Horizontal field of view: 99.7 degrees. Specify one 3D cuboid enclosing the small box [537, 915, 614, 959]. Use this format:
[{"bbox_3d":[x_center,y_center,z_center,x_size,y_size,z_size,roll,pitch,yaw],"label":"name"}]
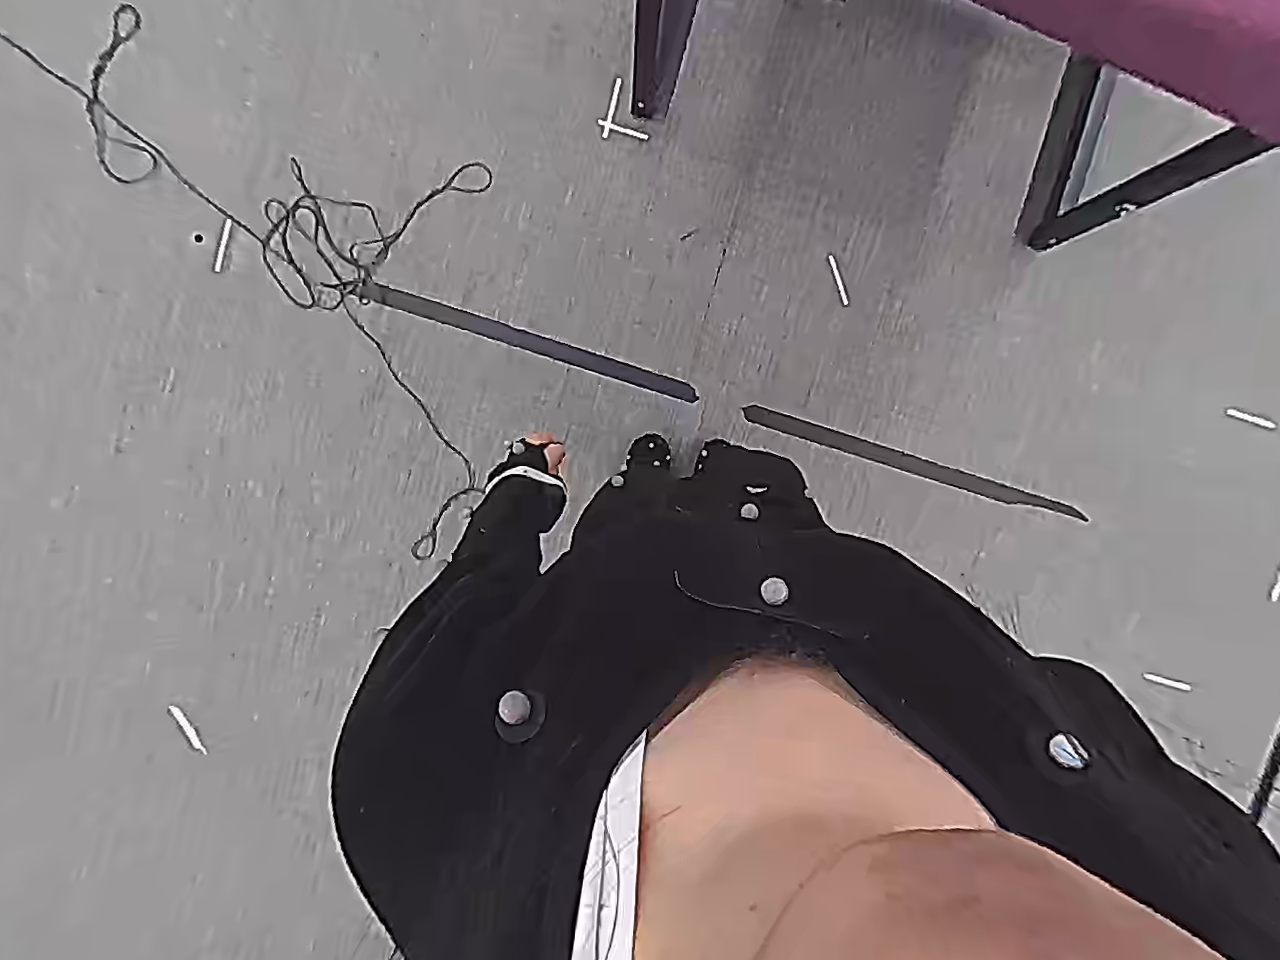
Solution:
[{"bbox_3d":[-0.154,1.135,1.206,0.168,0.176,0.179,13,93,-4],"label":"small box"}]
